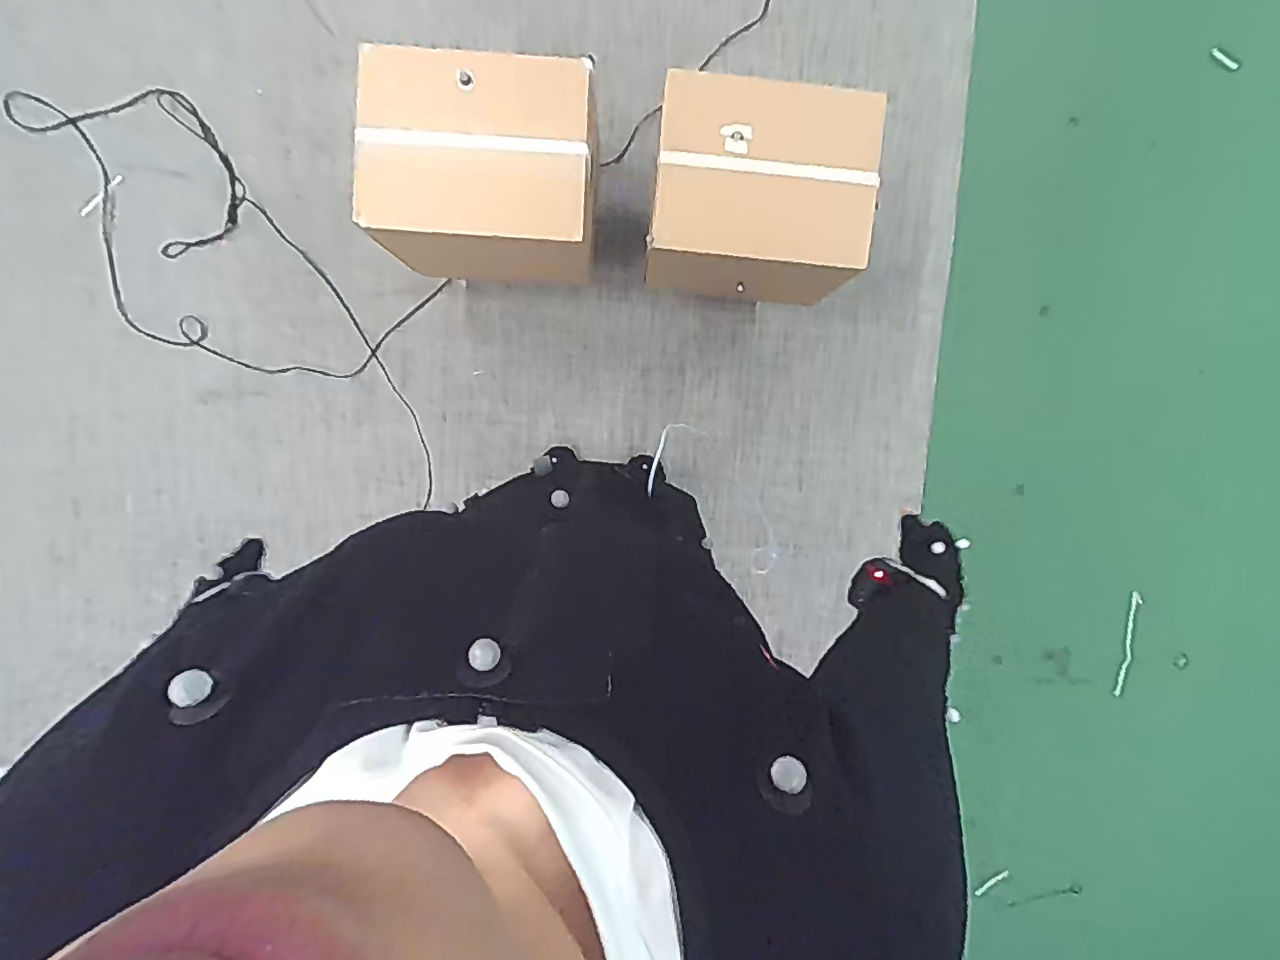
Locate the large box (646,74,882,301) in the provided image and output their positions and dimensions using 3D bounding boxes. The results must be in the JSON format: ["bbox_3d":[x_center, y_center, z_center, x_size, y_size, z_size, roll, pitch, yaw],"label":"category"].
[{"bbox_3d":[0.230,-0.580,1.142,0.408,0.320,0.320,6,95,-2],"label":"large box"}]
